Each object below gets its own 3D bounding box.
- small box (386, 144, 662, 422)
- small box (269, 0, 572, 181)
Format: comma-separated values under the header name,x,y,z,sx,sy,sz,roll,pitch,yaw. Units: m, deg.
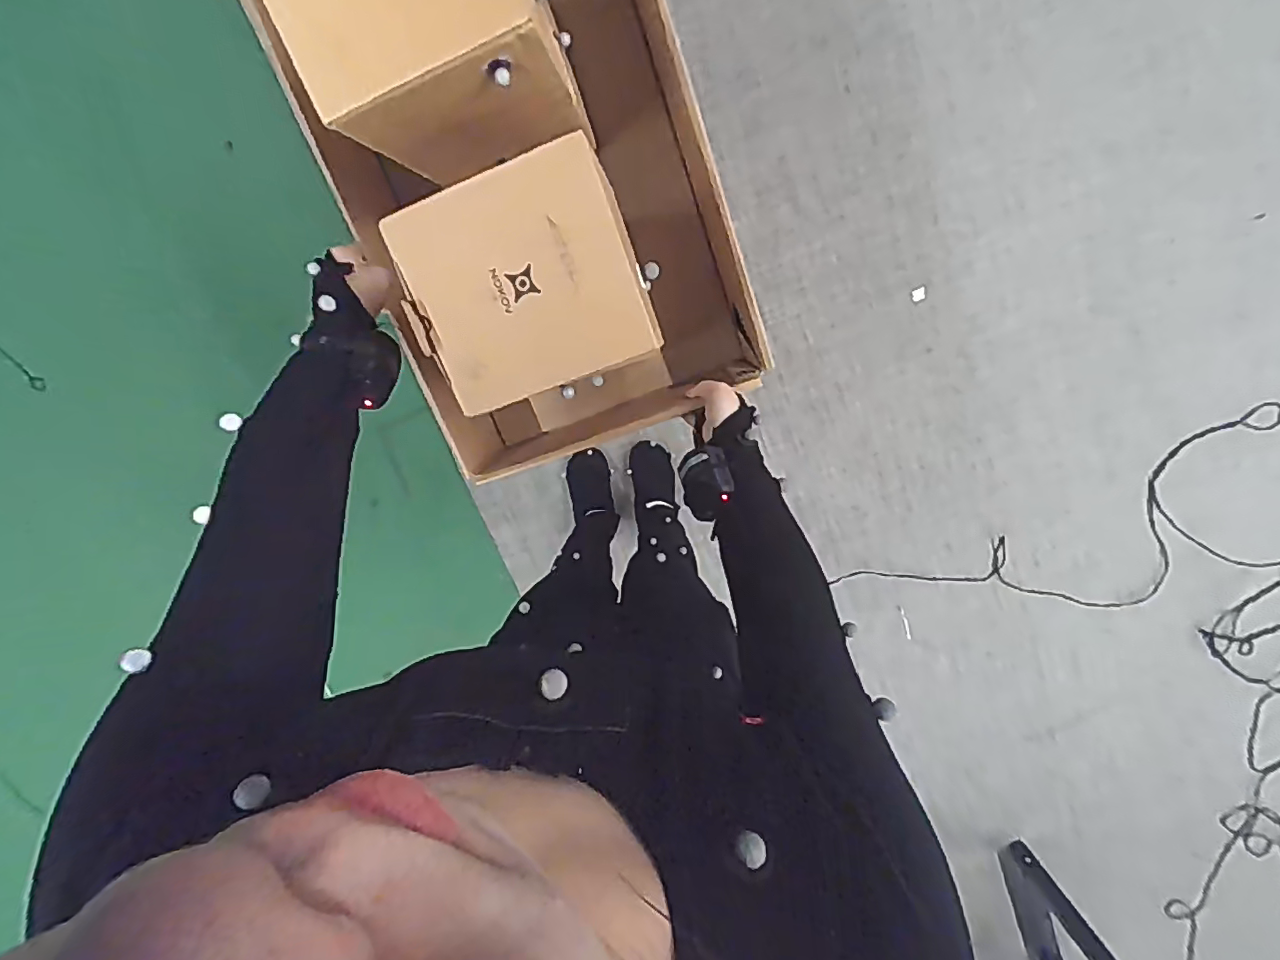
name,x,y,z,sx,sy,sz,roll,pitch,yaw
small box,-0.087,-0.168,0.503,0.179,0.176,0.168,-19,104,8
small box,-0.175,-0.380,0.451,0.179,0.176,0.168,-20,105,8
